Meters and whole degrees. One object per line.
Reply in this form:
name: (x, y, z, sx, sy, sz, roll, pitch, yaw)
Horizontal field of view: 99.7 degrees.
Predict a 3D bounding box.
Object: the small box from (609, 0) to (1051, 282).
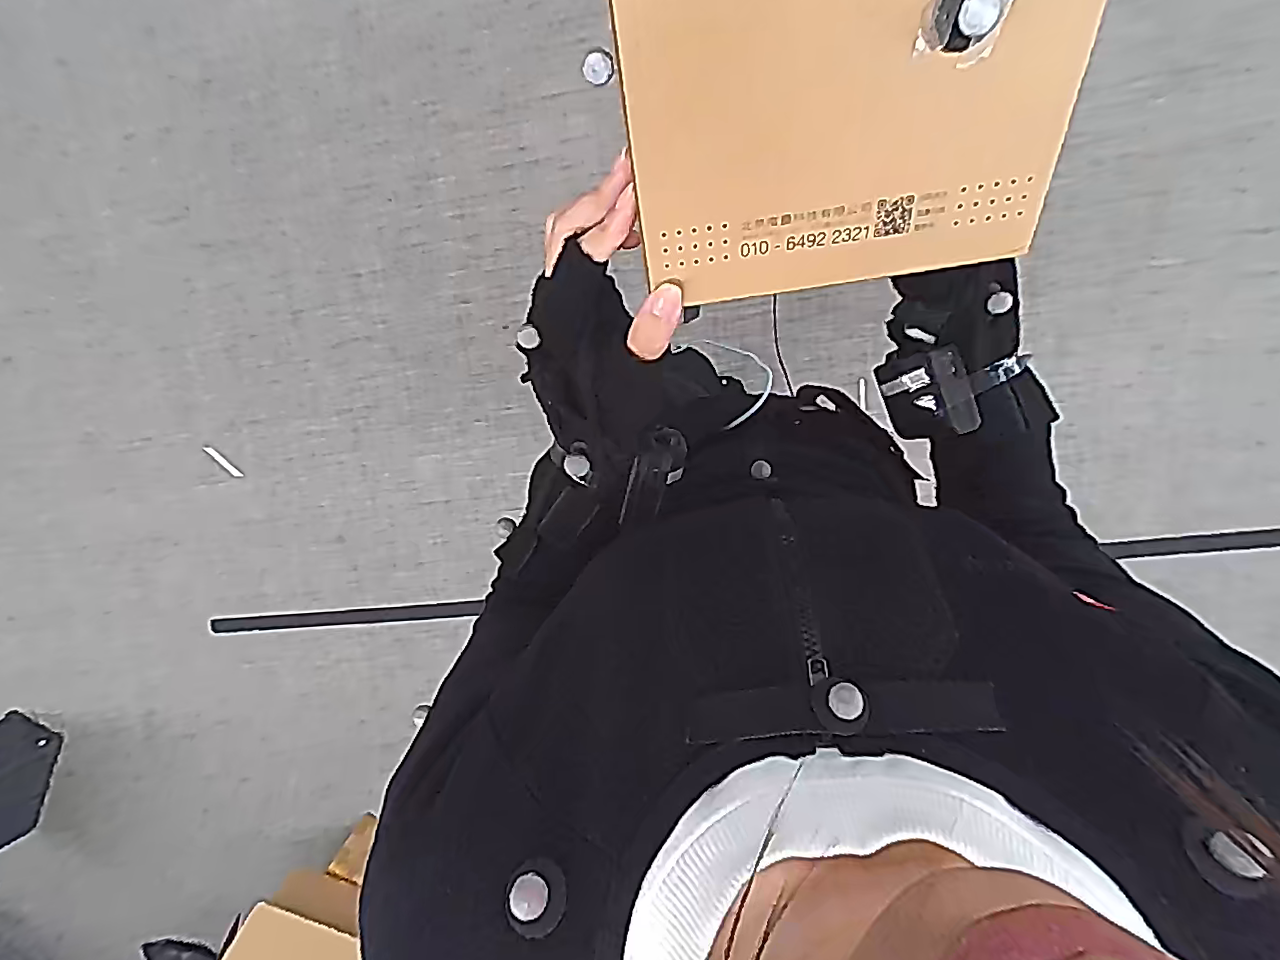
small box: (0.075, -0.210, 0.270, 0.168, 0.179, 0.176, -6, 130, 5)
